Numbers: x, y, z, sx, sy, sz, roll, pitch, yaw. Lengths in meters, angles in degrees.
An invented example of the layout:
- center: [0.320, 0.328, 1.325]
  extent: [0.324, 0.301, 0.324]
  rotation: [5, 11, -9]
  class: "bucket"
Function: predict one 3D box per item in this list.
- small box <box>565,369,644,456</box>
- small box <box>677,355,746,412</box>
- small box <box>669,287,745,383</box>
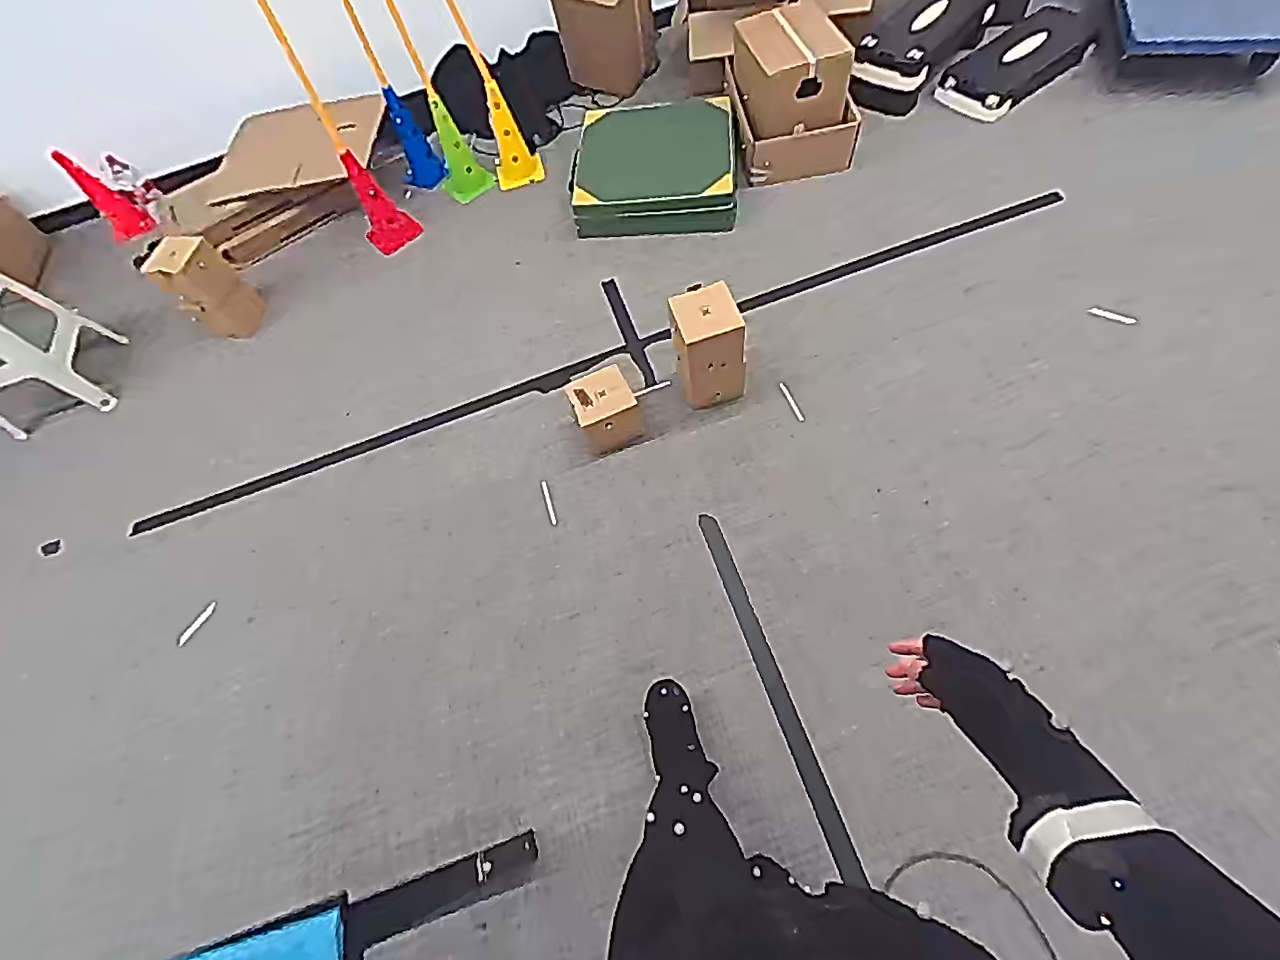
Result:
- center: [-0.103, -0.200, 1.645]
  extent: [0.179, 0.176, 0.168]
  rotation: [-24, 62, -5]
  class: "small box"
- center: [0.214, -0.338, 1.671]
  extent: [0.179, 0.176, 0.168]
  rotation: [-16, 61, -2]
  class: "small box"
- center: [0.186, -0.405, 1.525]
  extent: [0.168, 0.176, 0.179]
  rotation: [-17, 63, 0]
  class: "small box"
